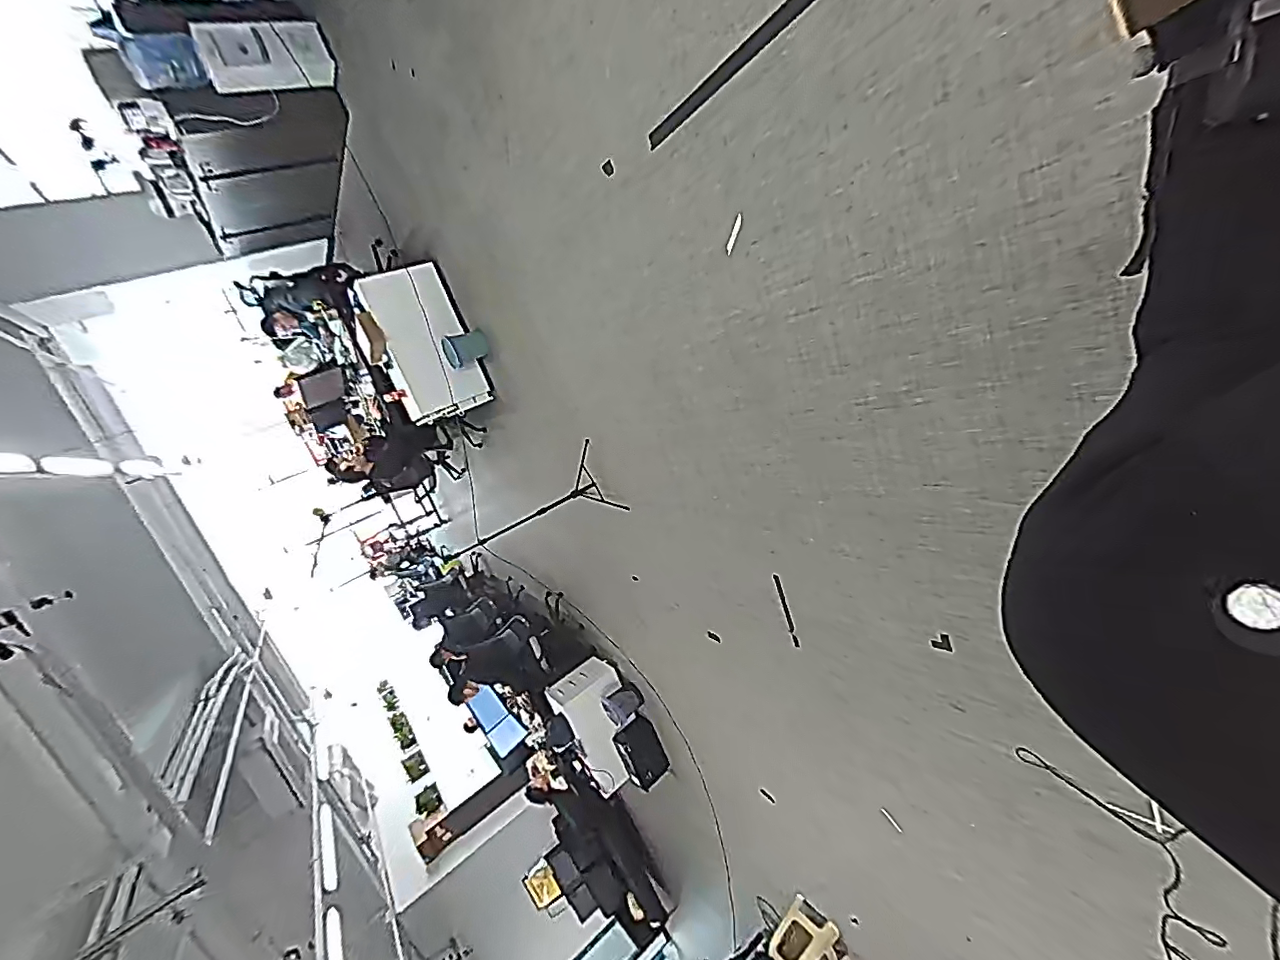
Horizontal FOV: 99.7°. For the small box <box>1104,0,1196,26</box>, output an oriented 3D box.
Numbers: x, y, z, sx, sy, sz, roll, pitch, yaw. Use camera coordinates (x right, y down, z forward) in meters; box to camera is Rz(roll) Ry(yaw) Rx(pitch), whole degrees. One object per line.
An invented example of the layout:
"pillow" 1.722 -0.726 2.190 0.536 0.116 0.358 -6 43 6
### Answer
"small box" 0.230 -0.303 0.179 0.168 0.176 0.179 -19 101 49
